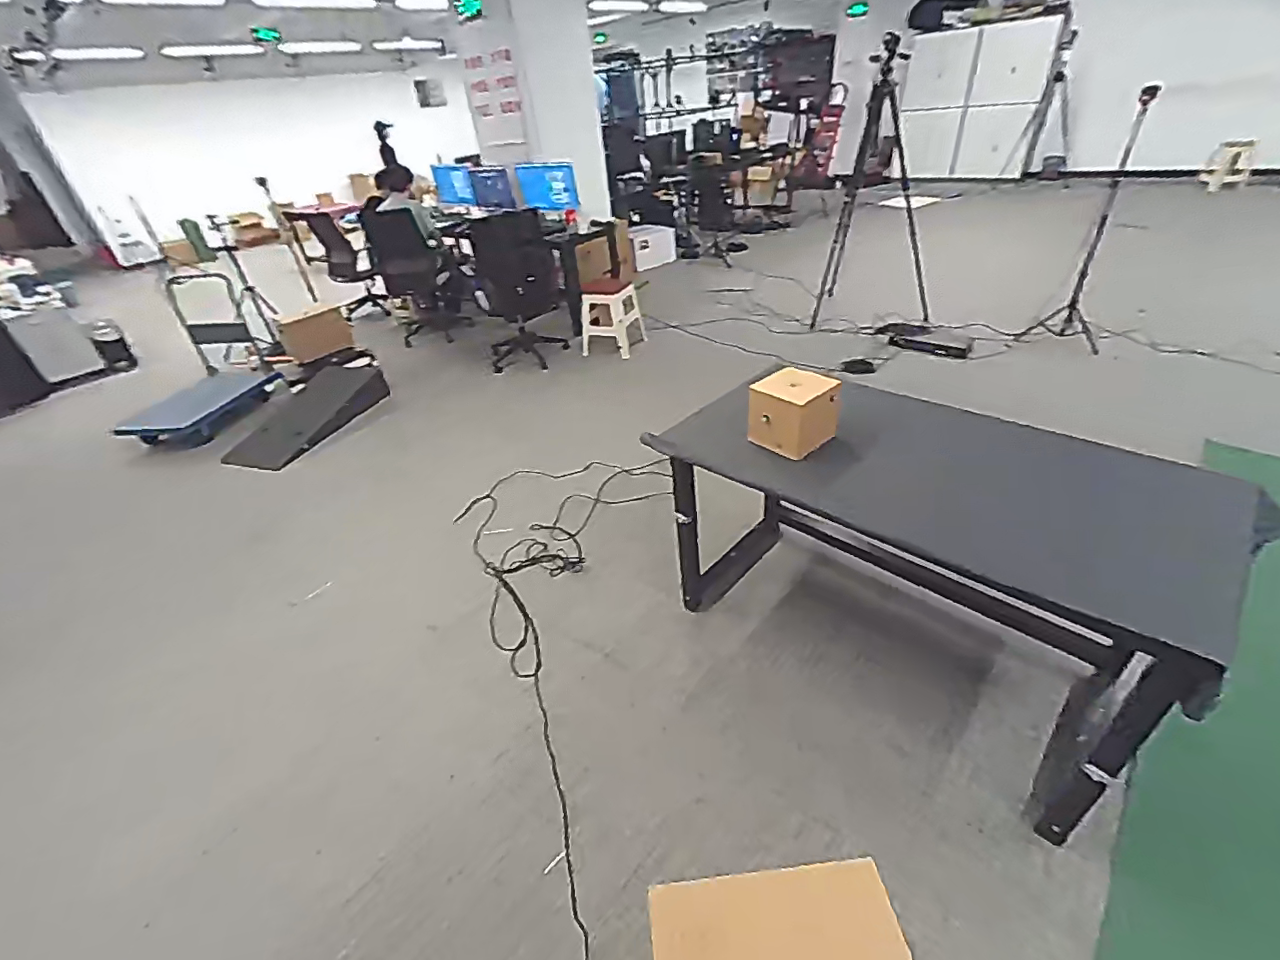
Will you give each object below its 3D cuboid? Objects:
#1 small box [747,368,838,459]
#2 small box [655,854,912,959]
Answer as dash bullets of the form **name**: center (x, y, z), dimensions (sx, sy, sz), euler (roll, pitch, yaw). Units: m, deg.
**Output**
- **small box**: center (0.406, -0.177, 1.450), dimensions (0.179, 0.176, 0.168), euler (-29, 41, -31)
- **small box**: center (0.098, 0.394, 0.370), dimensions (0.168, 0.176, 0.179), euler (-5, 36, -1)
